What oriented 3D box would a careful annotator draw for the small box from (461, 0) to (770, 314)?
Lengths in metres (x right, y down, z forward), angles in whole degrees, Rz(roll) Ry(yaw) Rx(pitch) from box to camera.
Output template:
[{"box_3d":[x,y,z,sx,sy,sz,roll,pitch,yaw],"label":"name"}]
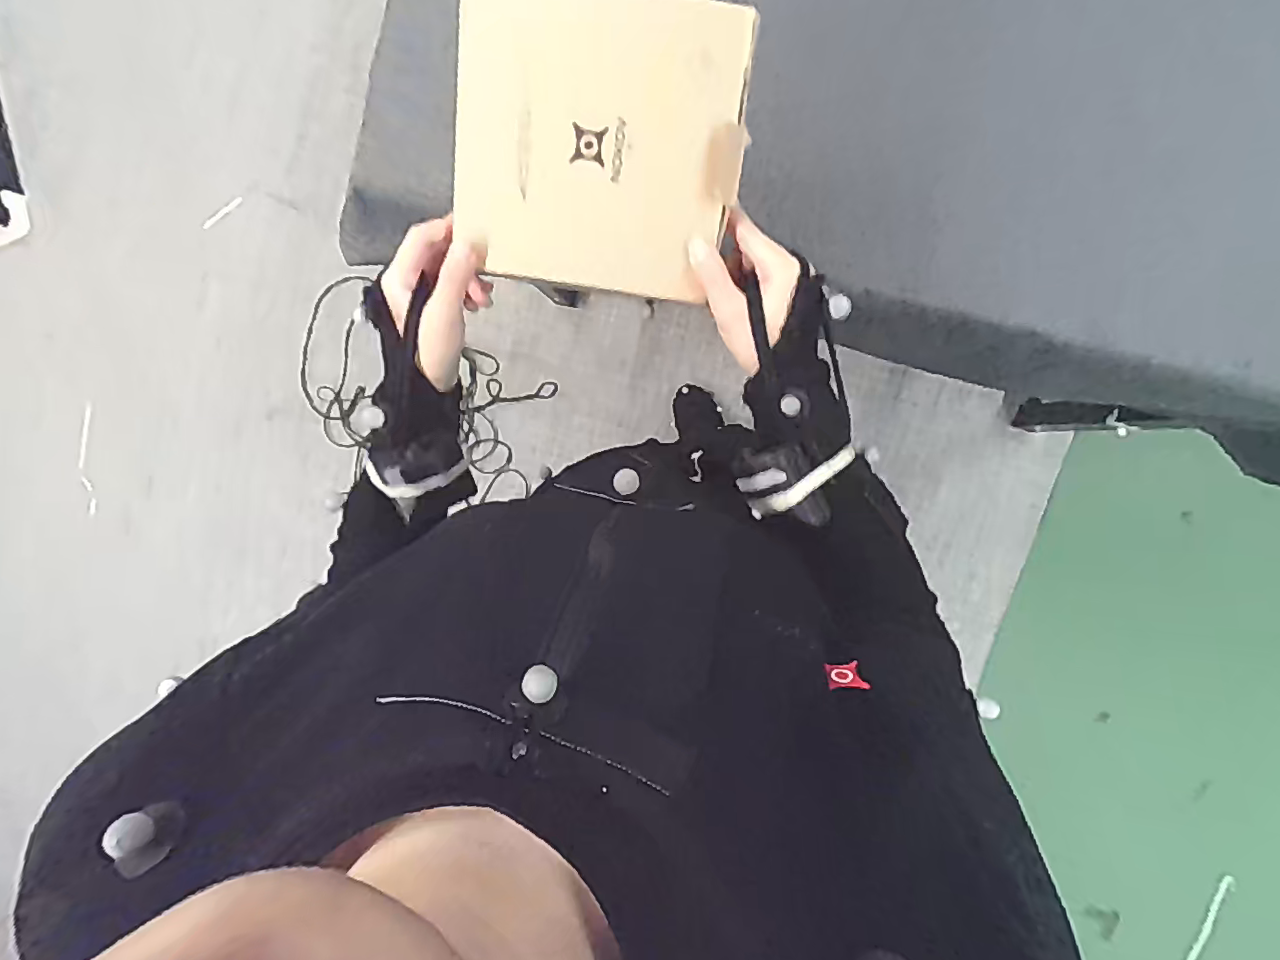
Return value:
[{"box_3d":[-0.017,-0.222,0.407,0.179,0.176,0.168,8,107,1],"label":"small box"}]
